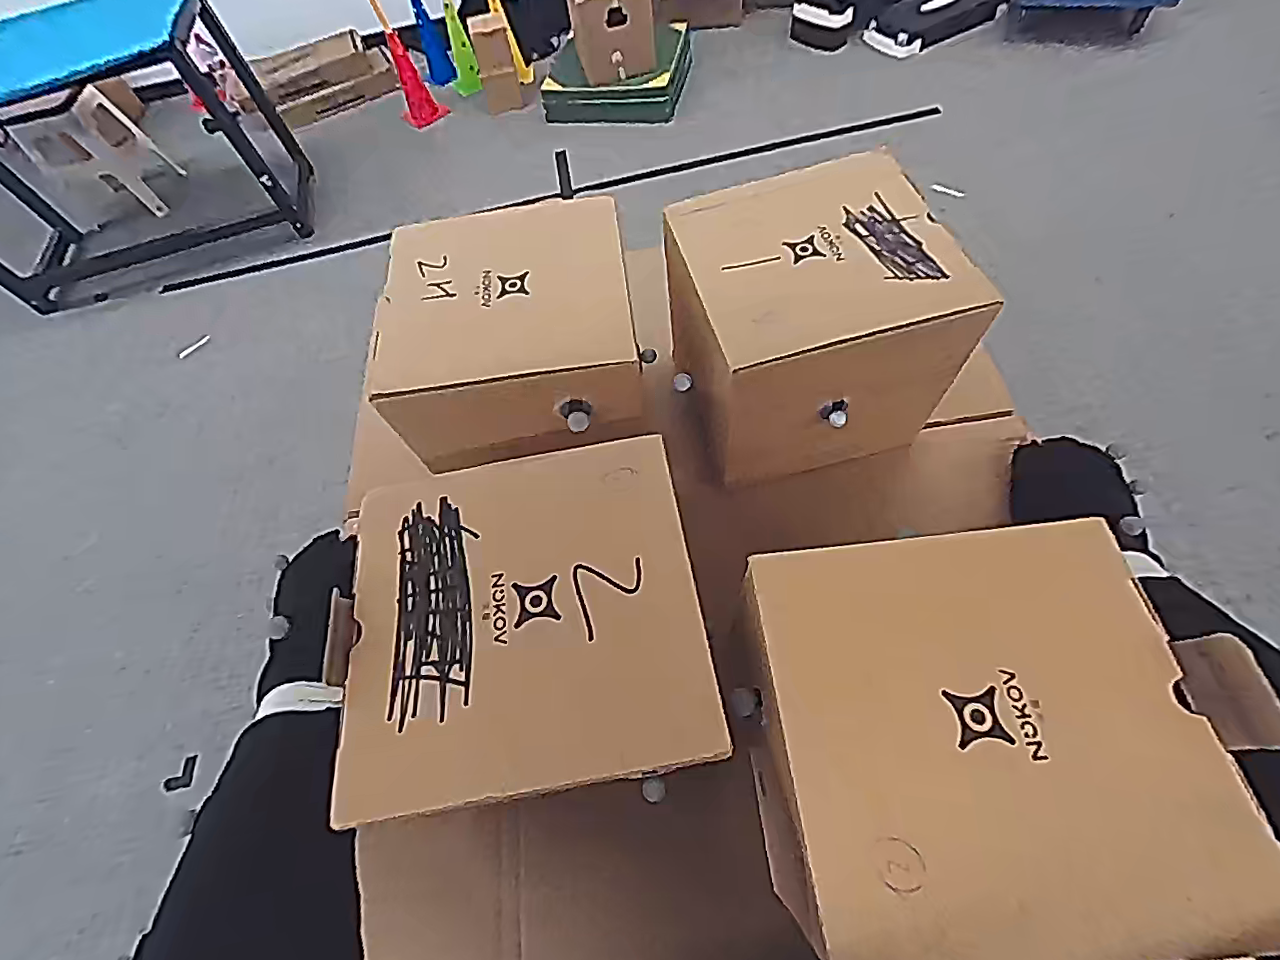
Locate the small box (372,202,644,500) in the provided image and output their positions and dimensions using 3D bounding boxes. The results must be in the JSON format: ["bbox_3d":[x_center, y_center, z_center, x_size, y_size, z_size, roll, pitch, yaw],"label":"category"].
[{"bbox_3d":[-0.091,-0.098,0.460,0.179,0.176,0.168,-8,61,3],"label":"small box"}]
